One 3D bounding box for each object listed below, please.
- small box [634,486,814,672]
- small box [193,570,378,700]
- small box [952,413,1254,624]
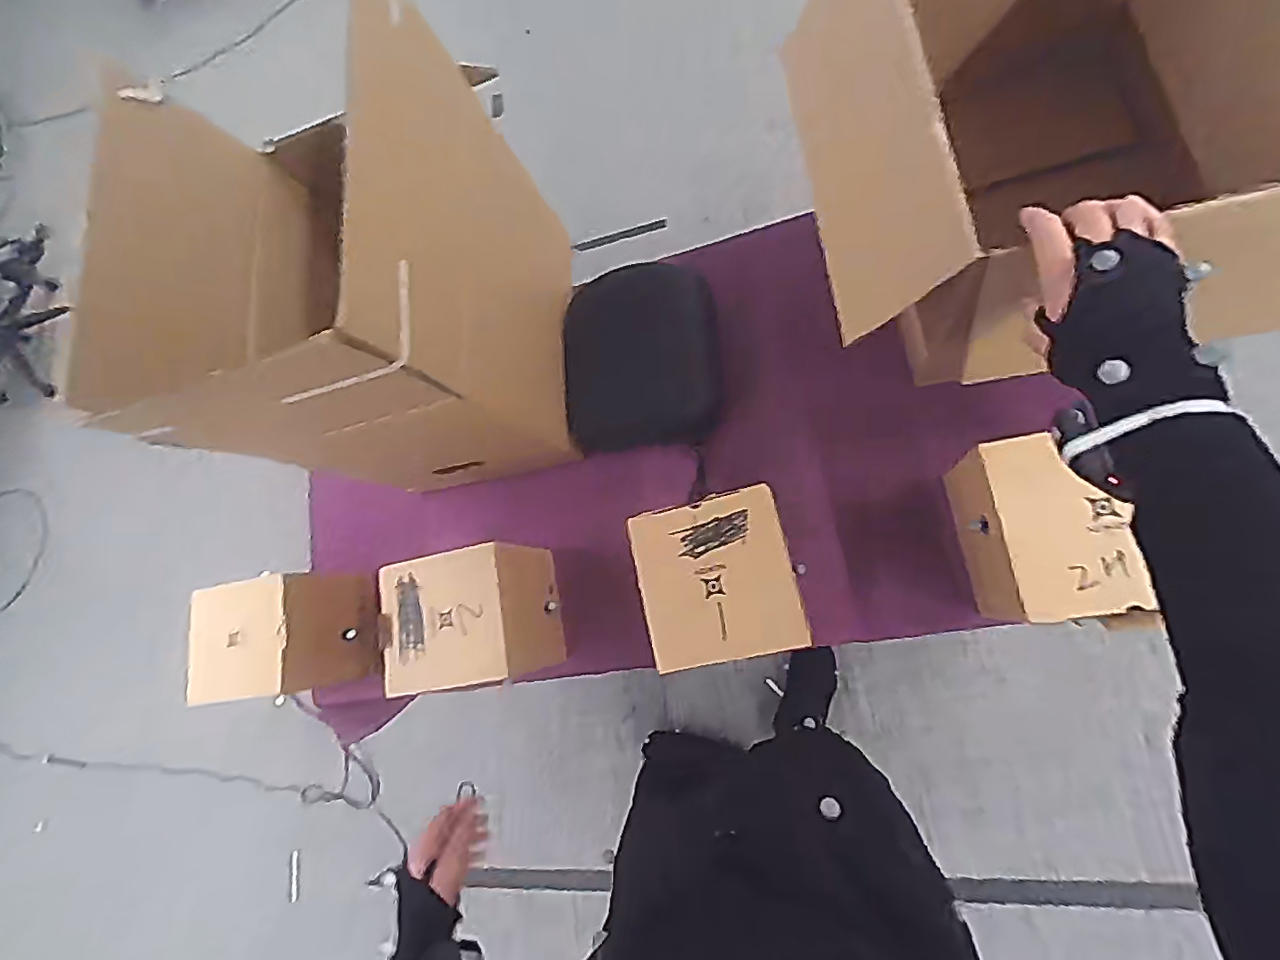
[{"bbox_3d":[0.106,0.122,0.659,0.168,0.176,0.179,-16,76,15],"label":"small box"},{"bbox_3d":[-0.542,0.237,0.843,0.179,0.176,0.168,-11,76,14],"label":"small box"},{"bbox_3d":[0.447,0.051,0.562,0.168,0.176,0.179,-11,76,17],"label":"small box"}]
